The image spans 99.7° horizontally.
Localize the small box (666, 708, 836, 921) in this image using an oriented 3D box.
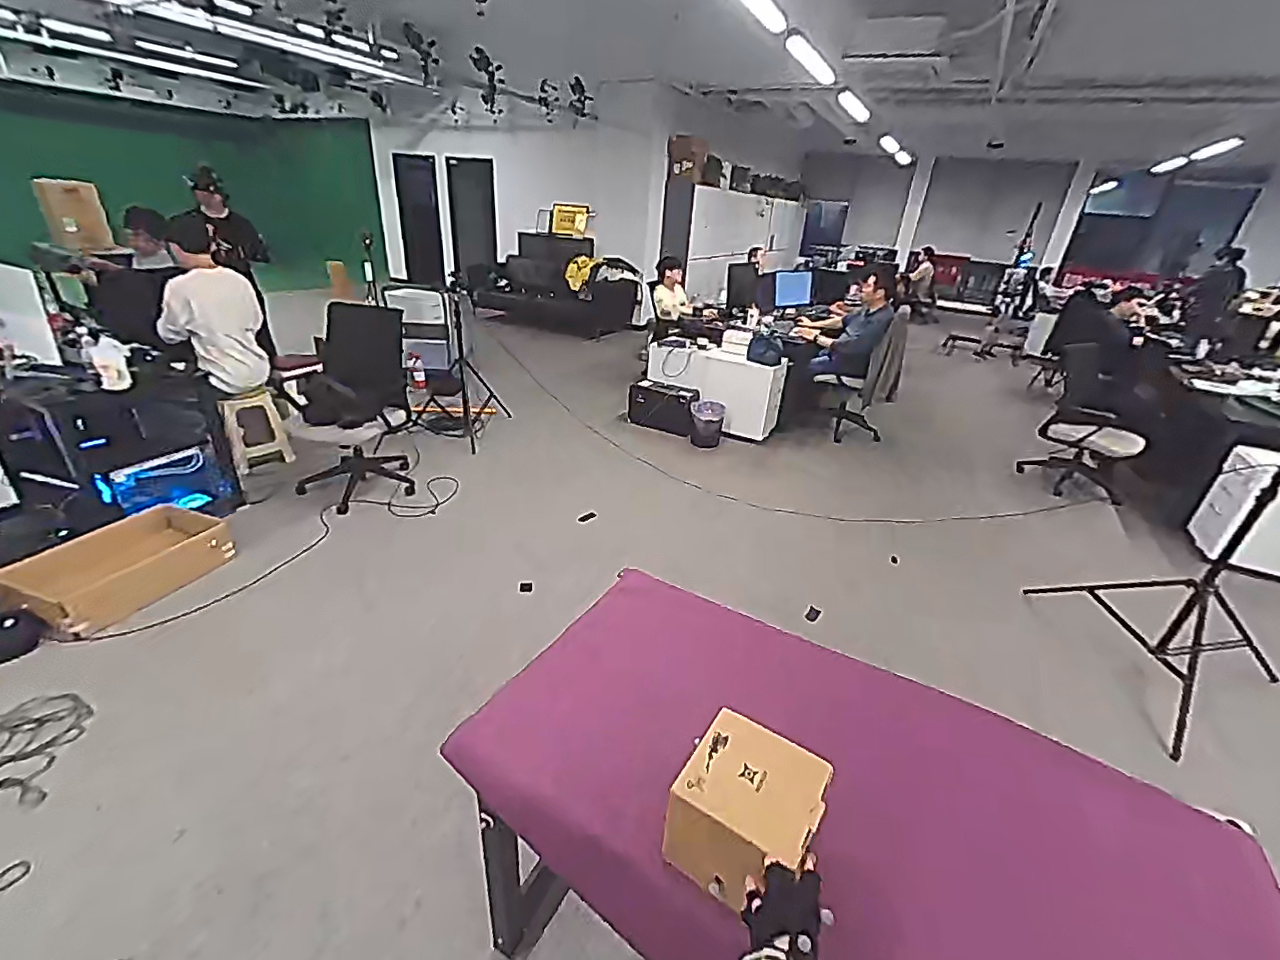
[{"bbox_3d":[0.156,0.480,0.781,0.179,0.176,0.168,20,30,28],"label":"small box"}]
